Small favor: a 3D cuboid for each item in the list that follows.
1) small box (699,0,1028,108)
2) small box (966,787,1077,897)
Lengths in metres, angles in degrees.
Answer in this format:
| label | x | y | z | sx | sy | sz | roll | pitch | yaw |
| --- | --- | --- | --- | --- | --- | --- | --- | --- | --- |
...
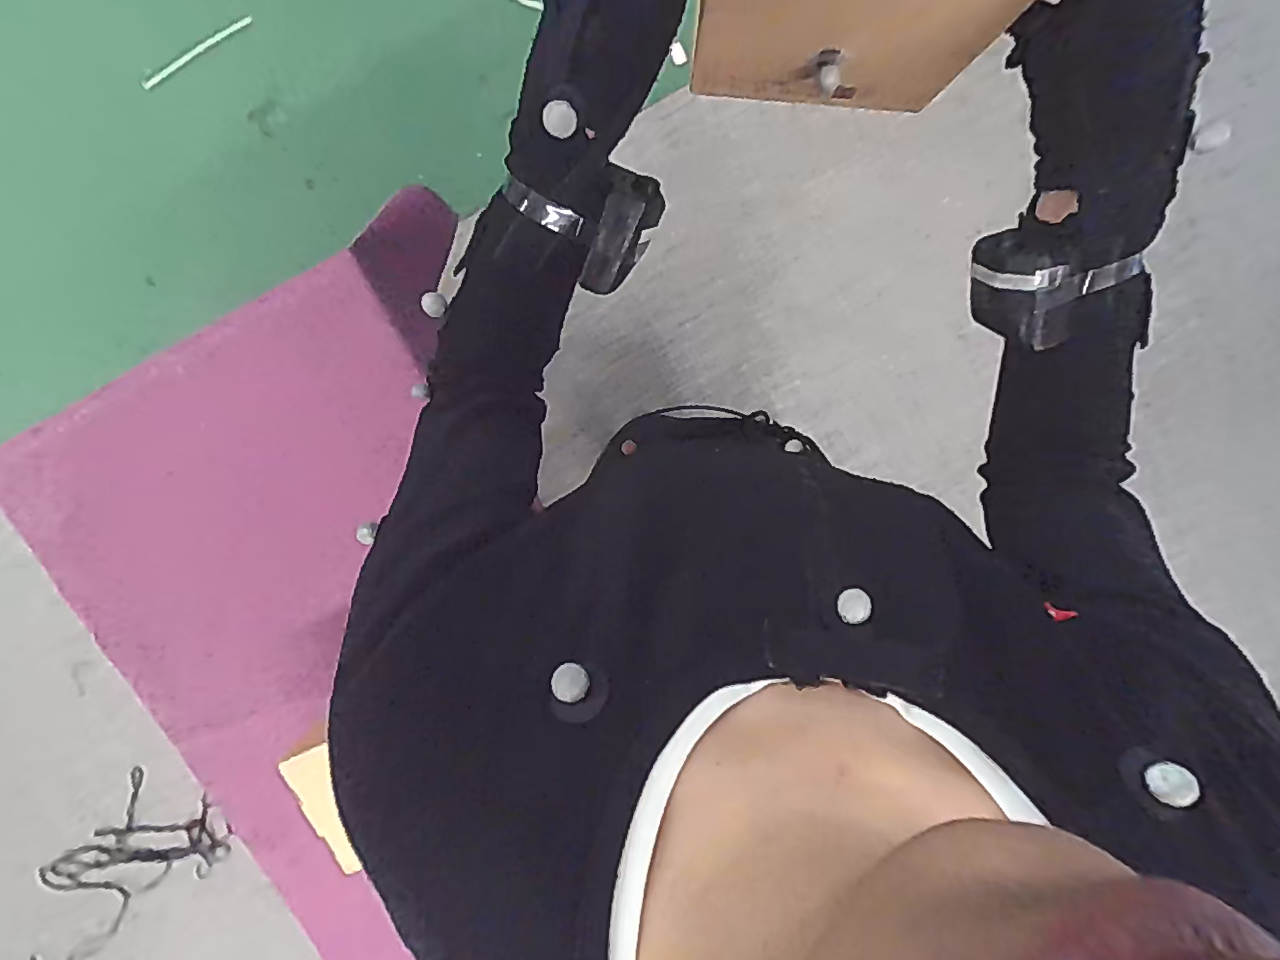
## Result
| label | x | y | z | sx | sy | sz | roll | pitch | yaw |
| --- | --- | --- | --- | --- | --- | --- | --- | --- | --- |
| small box | 0.127 | -0.341 | 0.286 | 0.168 | 0.176 | 0.179 | 6 | 101 | 0 |
| small box | 1.076 | 1.017 | 1.540 | 0.168 | 0.176 | 0.179 | -30 | 98 | 4 |
